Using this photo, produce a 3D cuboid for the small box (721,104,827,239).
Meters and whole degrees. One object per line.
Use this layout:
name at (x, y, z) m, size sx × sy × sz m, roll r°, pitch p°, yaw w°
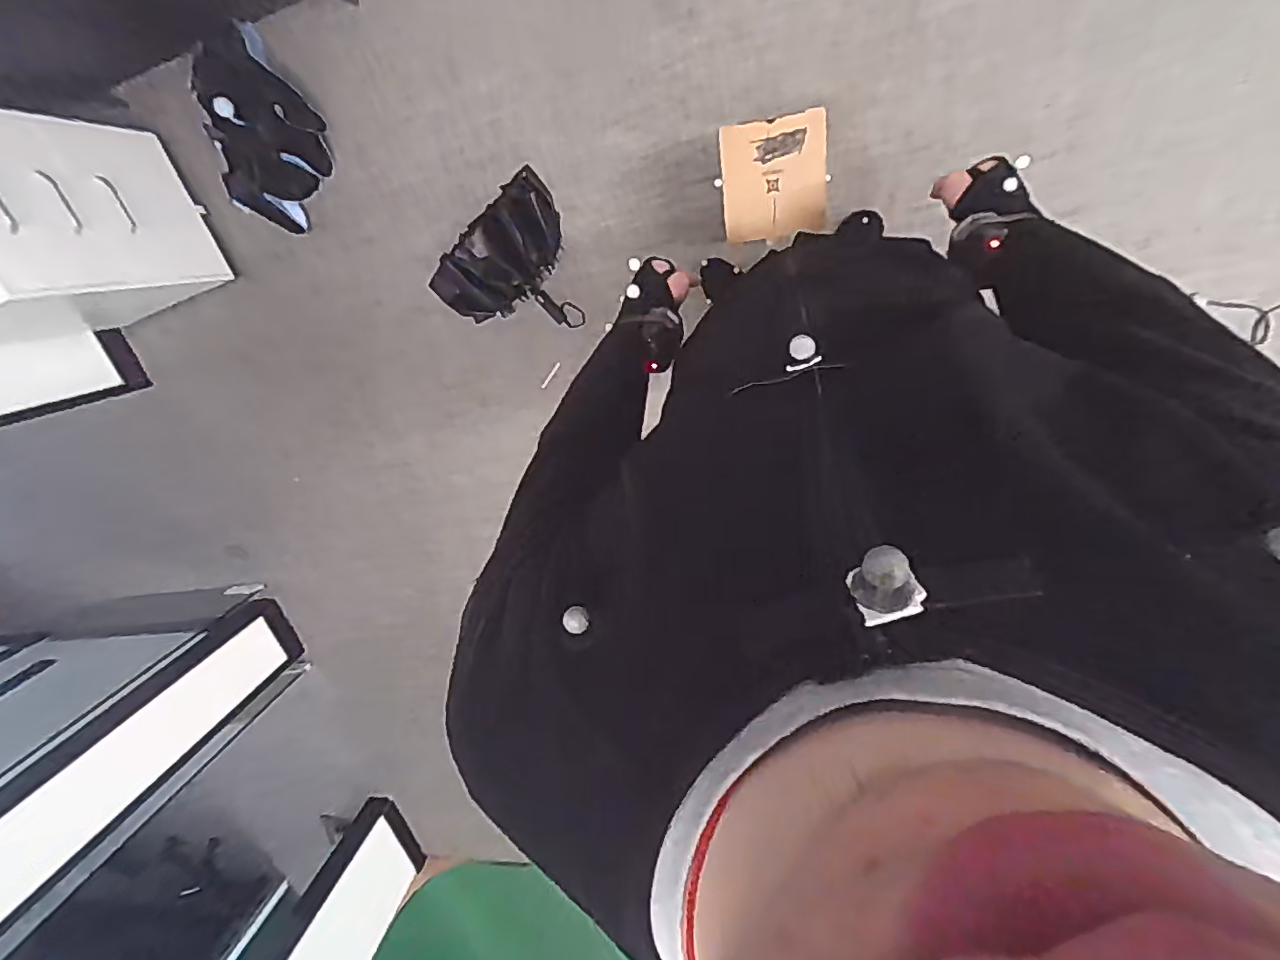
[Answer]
small box at (0.231, -0.528, 0.949) m, size 0.168 × 0.176 × 0.179 m, roll -3°, pitch 115°, yaw 13°
